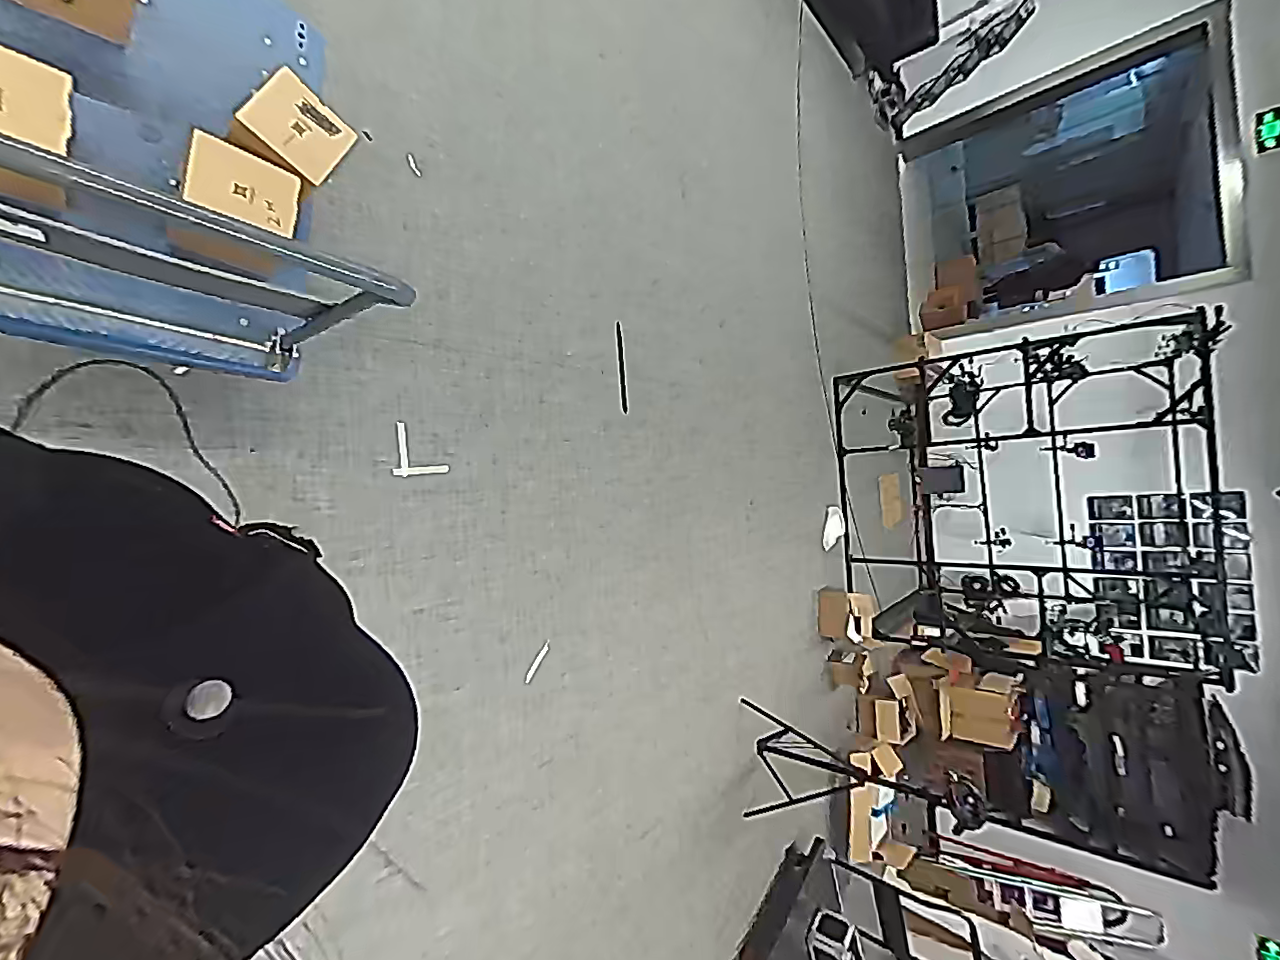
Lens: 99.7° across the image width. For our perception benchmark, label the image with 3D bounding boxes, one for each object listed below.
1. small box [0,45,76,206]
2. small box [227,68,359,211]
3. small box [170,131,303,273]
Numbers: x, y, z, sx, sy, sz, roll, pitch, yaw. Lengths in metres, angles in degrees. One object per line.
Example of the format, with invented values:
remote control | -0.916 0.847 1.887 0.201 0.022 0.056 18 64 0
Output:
small box | -1.023 -0.565 0.849 0.179 0.176 0.168 3 85 -50
small box | -0.753 -0.721 1.165 0.168 0.176 0.179 39 60 -39
small box | -0.811 -0.541 1.085 0.179 0.176 0.168 11 79 -47
